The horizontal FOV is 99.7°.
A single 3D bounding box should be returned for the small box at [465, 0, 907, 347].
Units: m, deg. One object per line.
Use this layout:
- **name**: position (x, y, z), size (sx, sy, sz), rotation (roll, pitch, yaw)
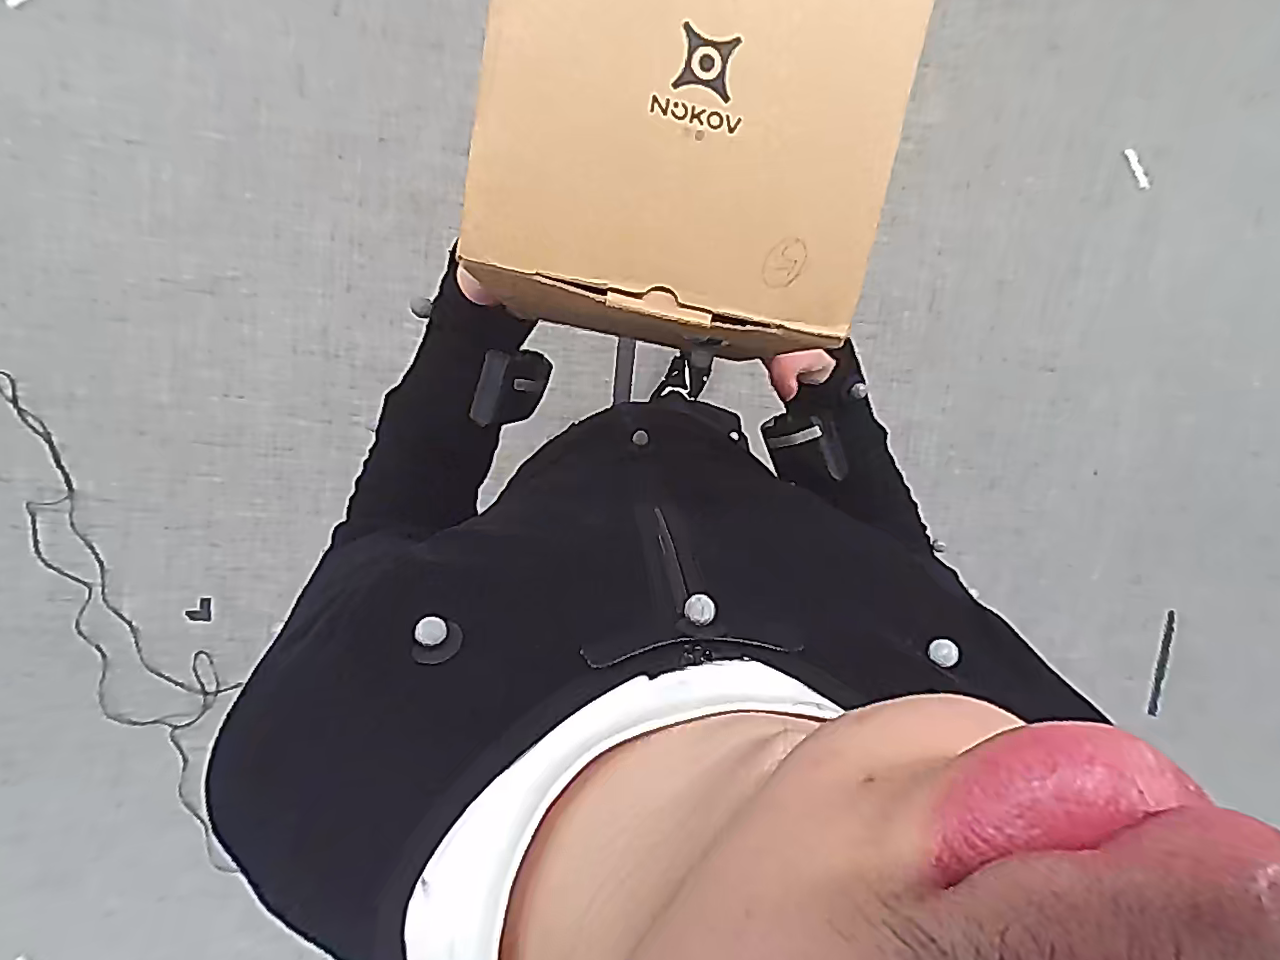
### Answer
- **small box**: position (0.014, -0.177, 0.298), size (0.168, 0.176, 0.179), rotation (9, 98, -7)
